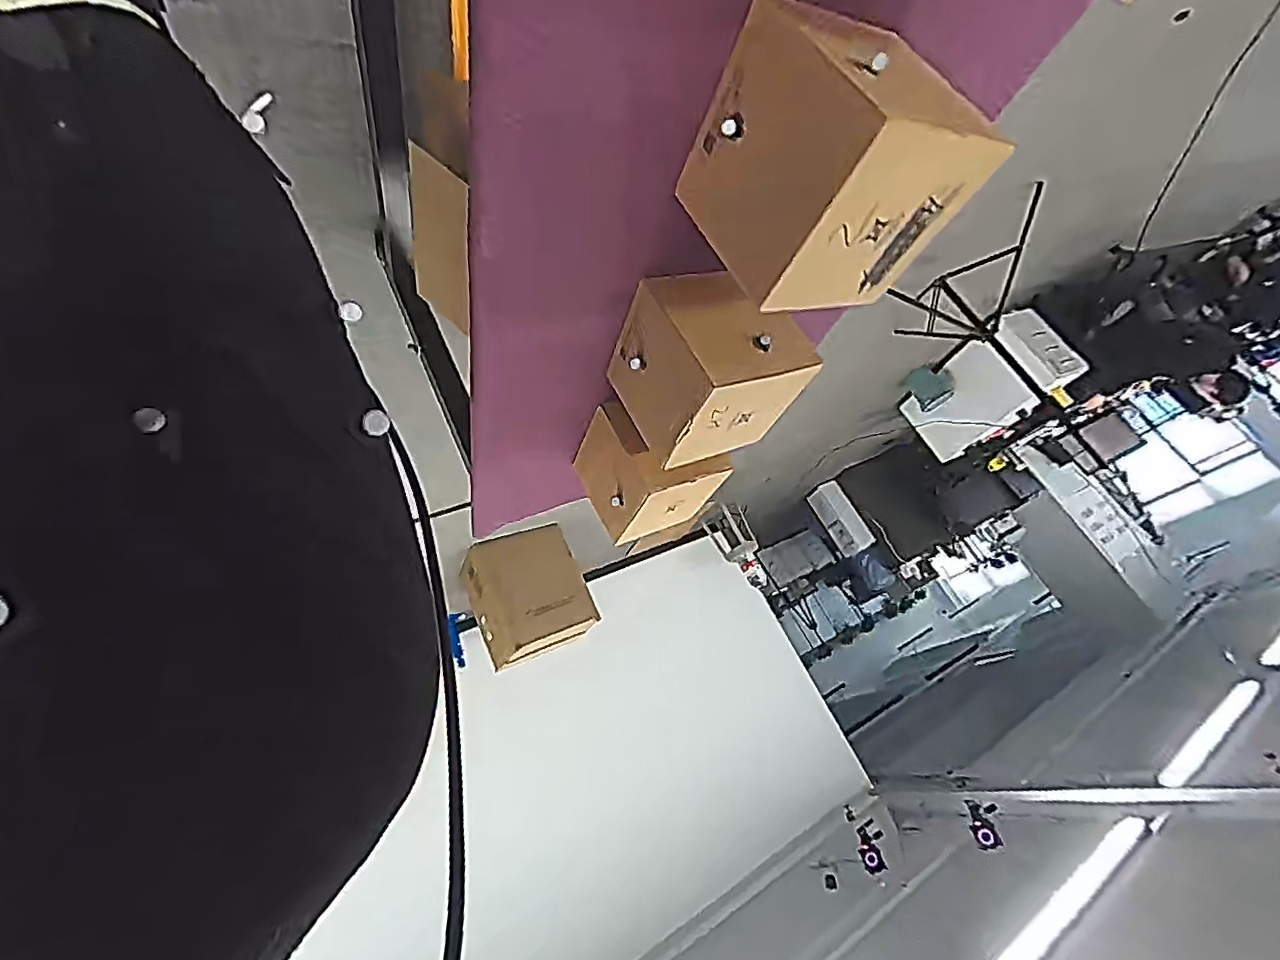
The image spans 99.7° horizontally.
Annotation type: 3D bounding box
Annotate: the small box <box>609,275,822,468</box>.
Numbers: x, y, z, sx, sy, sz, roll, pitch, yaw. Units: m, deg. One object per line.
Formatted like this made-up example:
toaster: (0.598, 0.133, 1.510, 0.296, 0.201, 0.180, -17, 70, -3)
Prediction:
small box: (0.087, -0.144, 0.697, 0.179, 0.176, 0.168, -17, 156, -29)

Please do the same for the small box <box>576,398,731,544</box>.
small box: (0.012, -0.023, 0.892, 0.168, 0.176, 0.179, -17, 156, -32)
